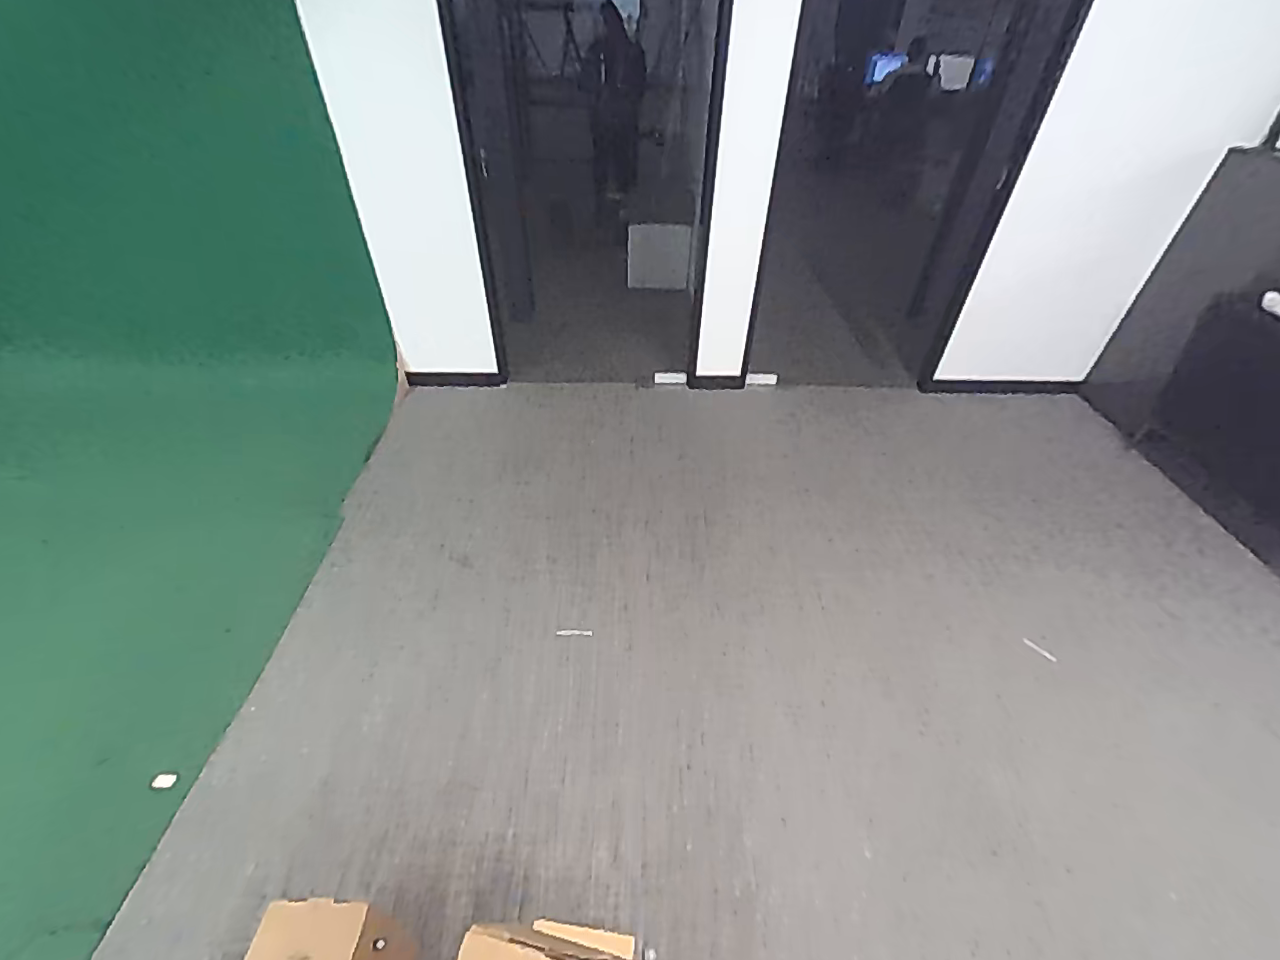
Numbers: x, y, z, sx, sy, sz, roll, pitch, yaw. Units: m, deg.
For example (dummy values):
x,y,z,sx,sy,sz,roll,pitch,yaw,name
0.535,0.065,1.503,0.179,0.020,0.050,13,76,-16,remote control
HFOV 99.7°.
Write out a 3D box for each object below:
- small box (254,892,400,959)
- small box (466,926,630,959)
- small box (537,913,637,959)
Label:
x,y,z,sx,sy,sz,roll,pitch,yaw,name
-0.517,0.805,0.887,0.168,0.176,0.179,0,42,1,small box
-0.062,0.458,0.397,0.168,0.176,0.179,10,54,9,small box
-0.099,0.833,0.867,0.168,0.176,0.179,6,43,5,small box
